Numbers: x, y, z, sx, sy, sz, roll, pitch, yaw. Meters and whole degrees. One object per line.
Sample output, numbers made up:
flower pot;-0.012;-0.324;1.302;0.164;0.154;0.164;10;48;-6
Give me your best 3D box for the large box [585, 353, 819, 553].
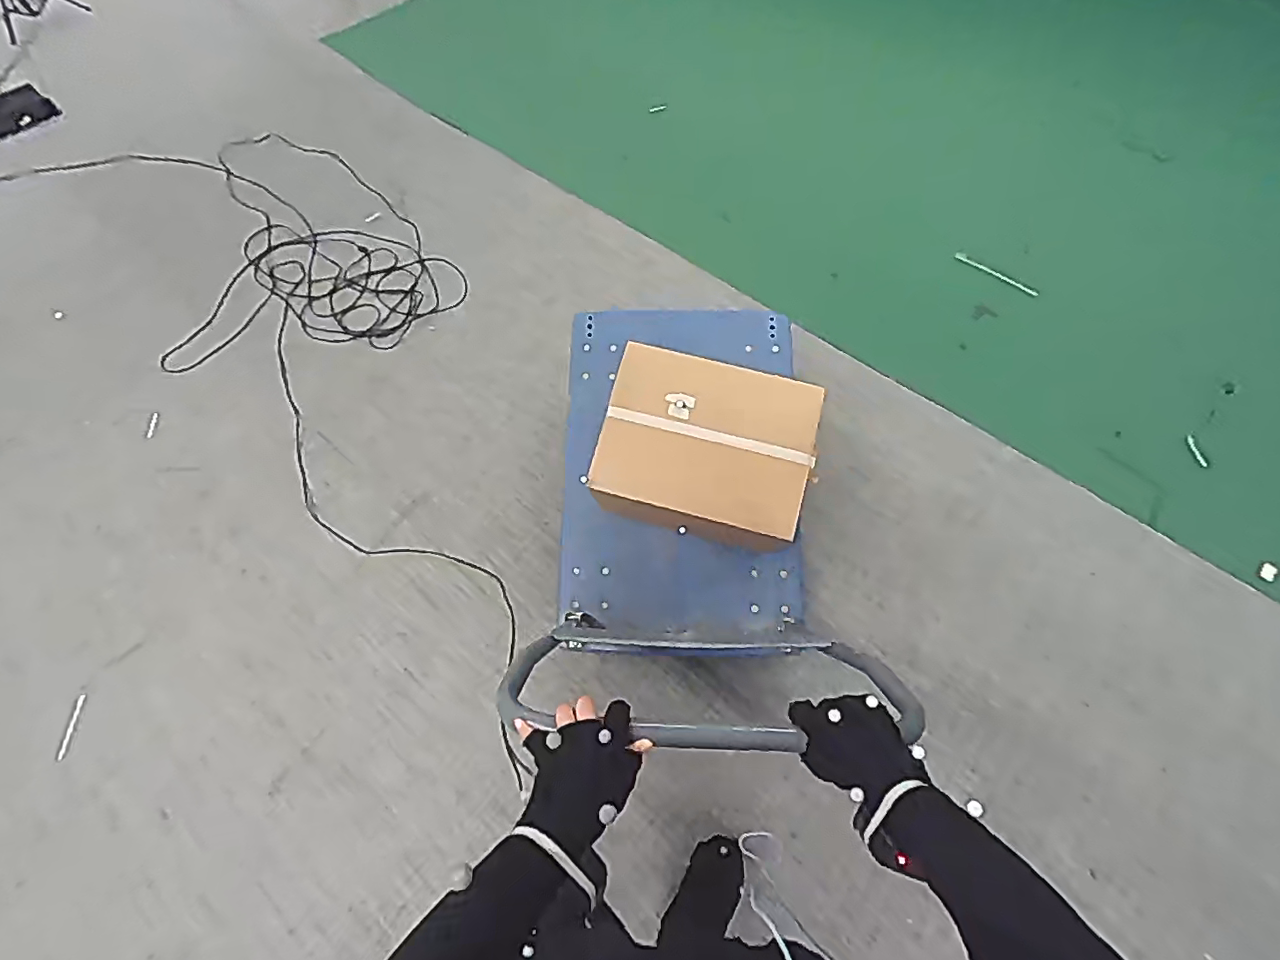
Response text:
large box;0.132;-0.040;1.190;0.408;0.320;0.320;14;79;6
